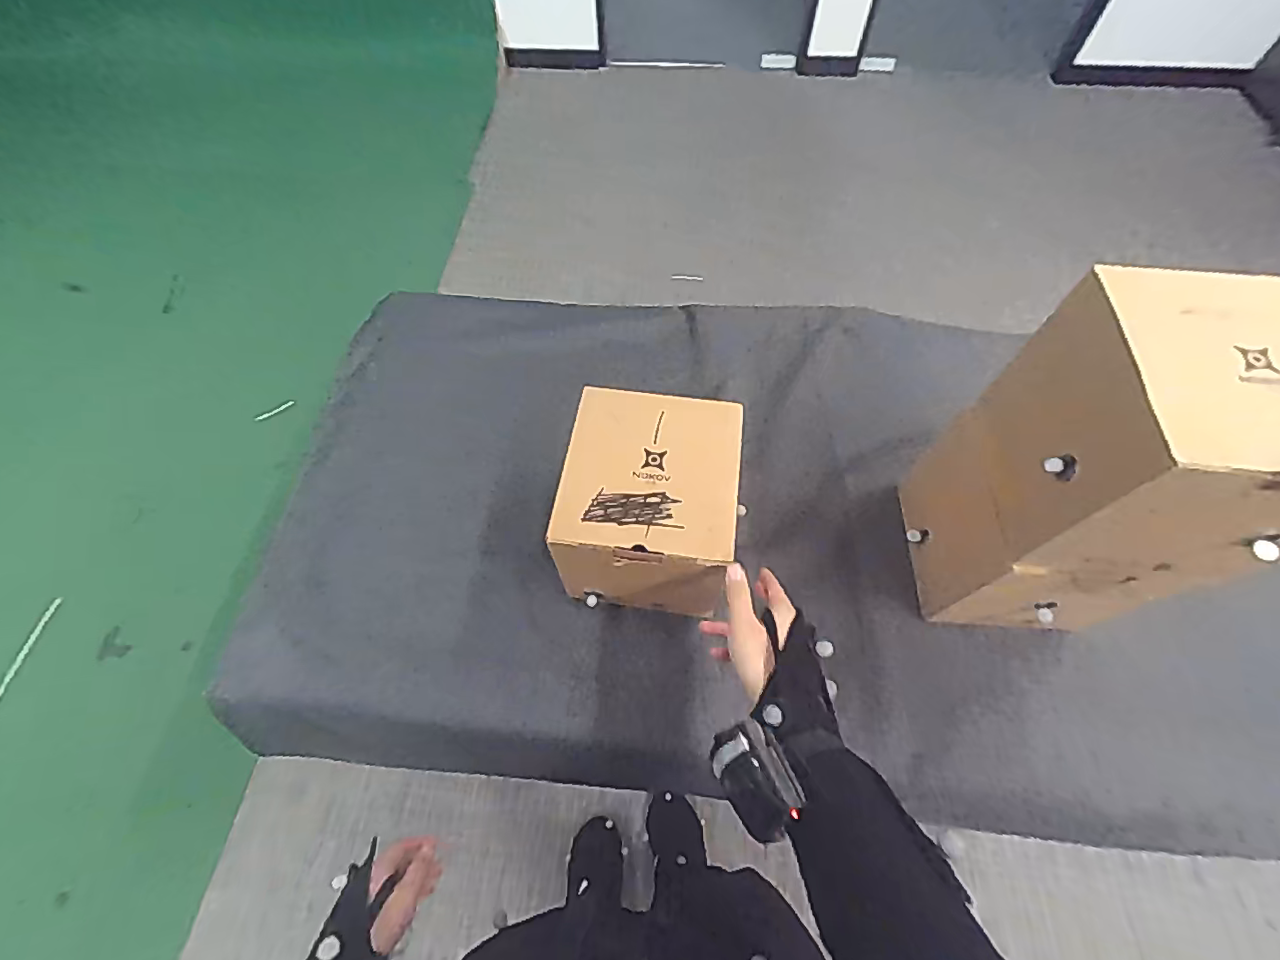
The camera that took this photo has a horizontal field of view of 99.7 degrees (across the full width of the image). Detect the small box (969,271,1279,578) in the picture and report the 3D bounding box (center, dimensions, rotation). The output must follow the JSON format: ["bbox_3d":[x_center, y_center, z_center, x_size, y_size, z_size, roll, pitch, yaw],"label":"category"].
[{"bbox_3d":[0.398,-0.035,0.428,0.168,0.176,0.179,5,60,3],"label":"small box"}]

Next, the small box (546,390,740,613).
[{"bbox_3d":[0.010,0.031,0.582,0.168,0.176,0.179,7,59,4],"label":"small box"}]
